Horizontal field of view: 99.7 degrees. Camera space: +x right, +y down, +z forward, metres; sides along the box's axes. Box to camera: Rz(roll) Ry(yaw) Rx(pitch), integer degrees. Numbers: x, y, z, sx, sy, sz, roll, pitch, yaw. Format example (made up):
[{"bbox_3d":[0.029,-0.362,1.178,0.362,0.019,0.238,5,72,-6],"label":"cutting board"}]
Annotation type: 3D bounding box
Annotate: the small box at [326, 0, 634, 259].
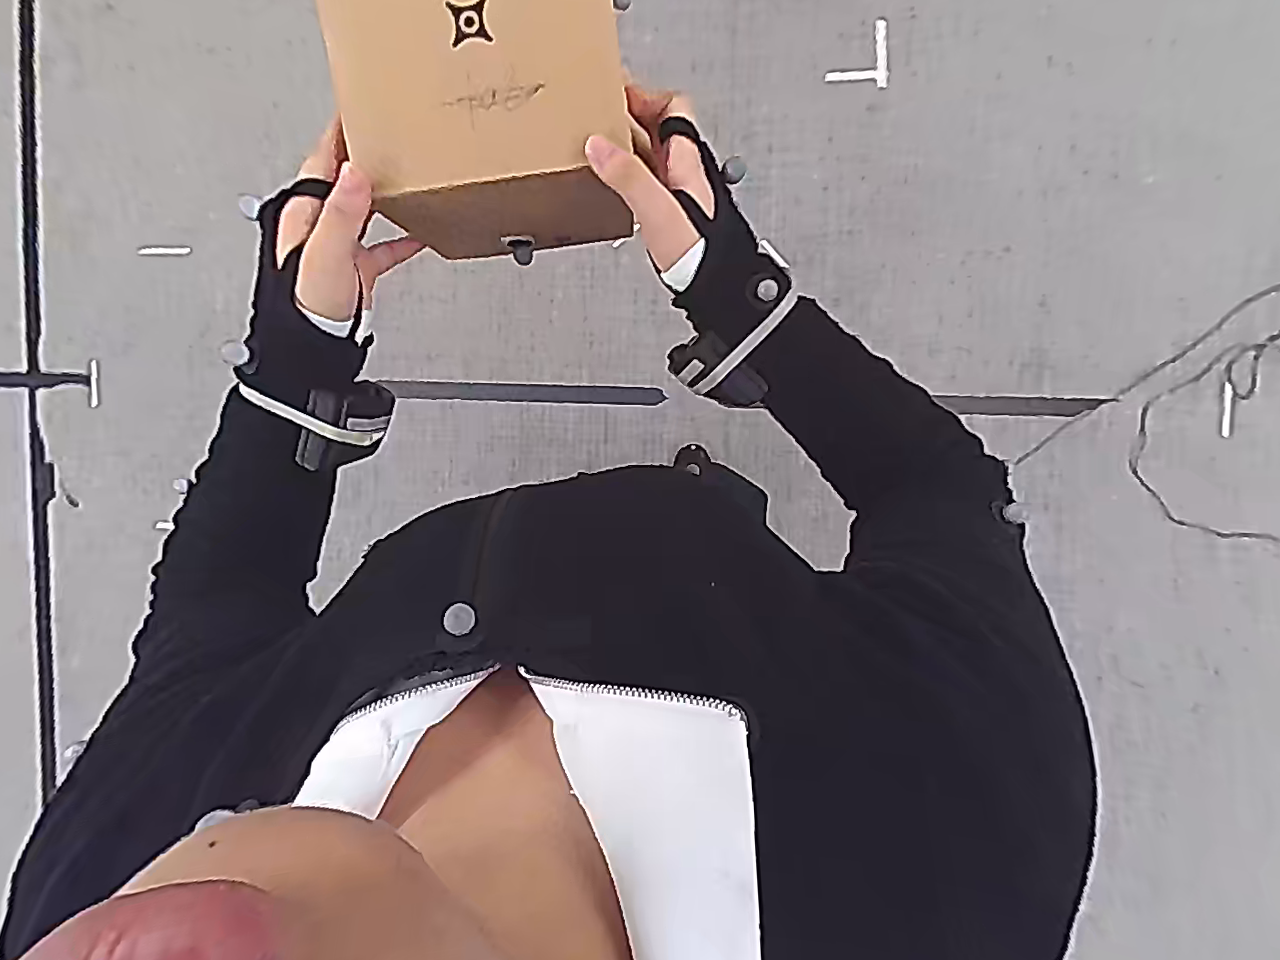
[{"bbox_3d":[-0.096,-0.276,0.386,0.168,0.176,0.179,-7,100,1],"label":"small box"}]
